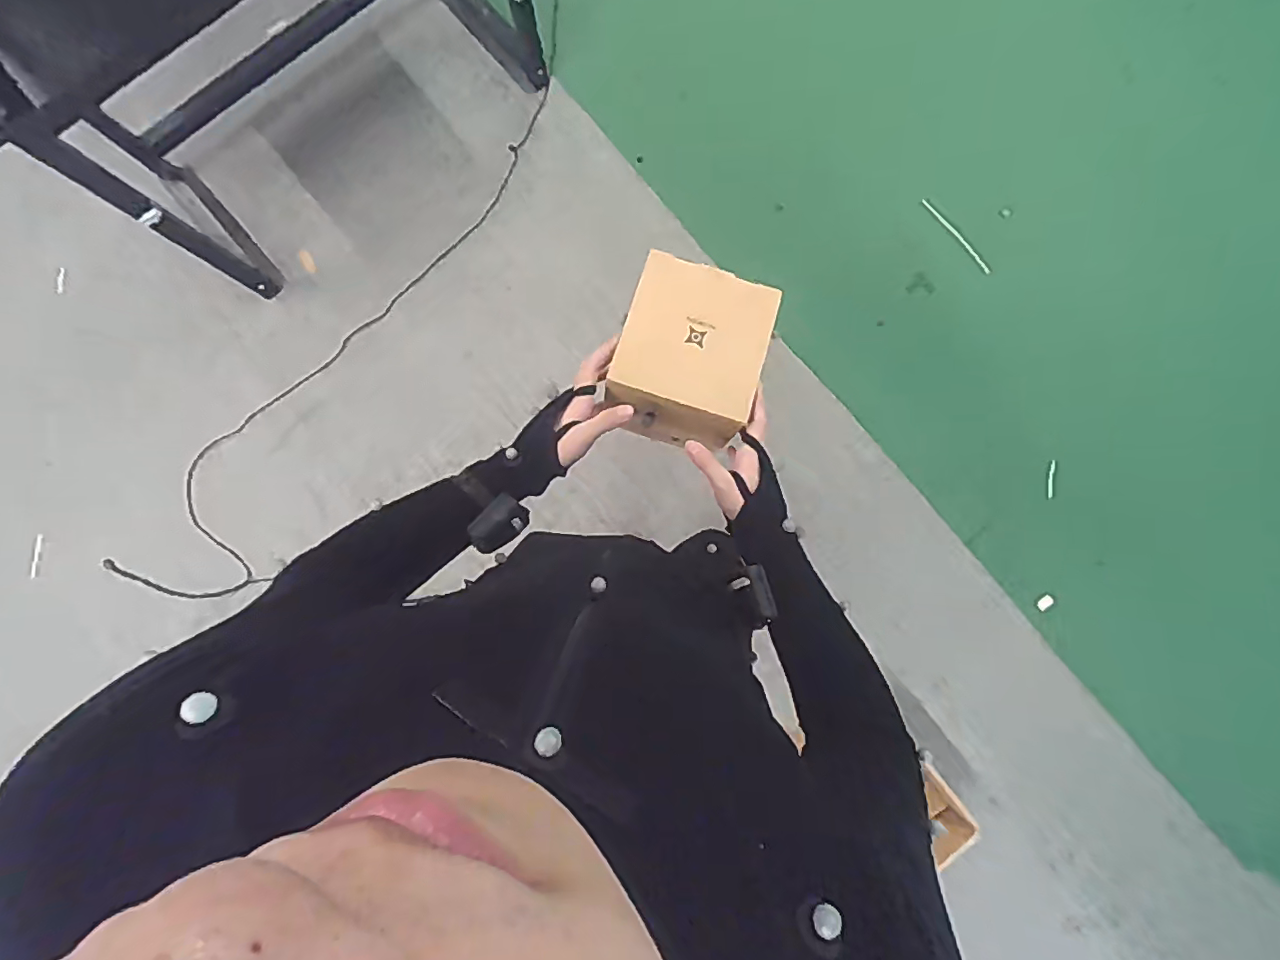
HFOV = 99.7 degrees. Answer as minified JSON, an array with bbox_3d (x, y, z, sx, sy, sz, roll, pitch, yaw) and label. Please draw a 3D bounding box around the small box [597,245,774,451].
[{"bbox_3d":[0.048,-0.152,0.683,0.168,0.176,0.179,17,76,-2],"label":"small box"}]
